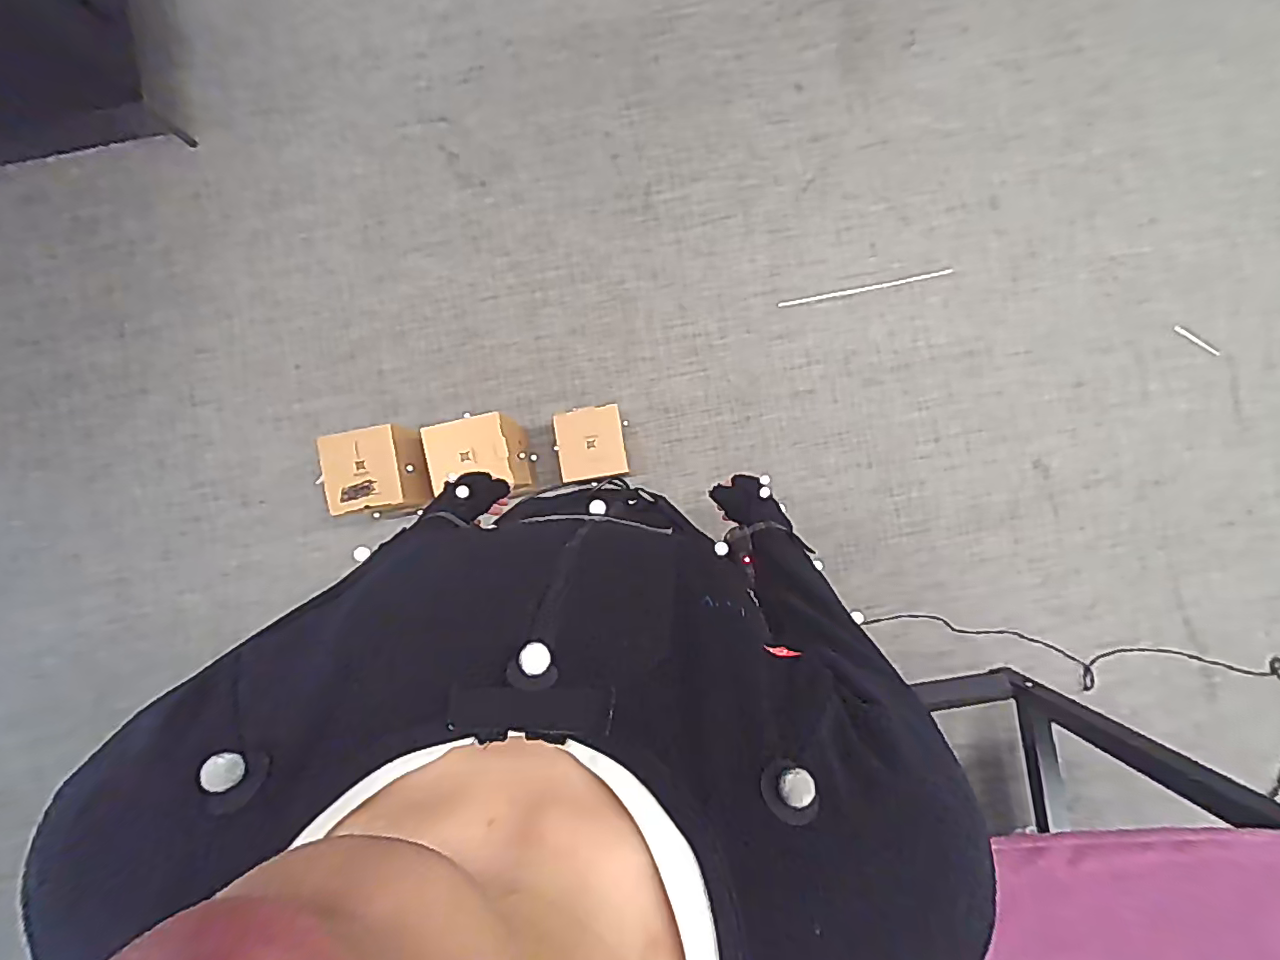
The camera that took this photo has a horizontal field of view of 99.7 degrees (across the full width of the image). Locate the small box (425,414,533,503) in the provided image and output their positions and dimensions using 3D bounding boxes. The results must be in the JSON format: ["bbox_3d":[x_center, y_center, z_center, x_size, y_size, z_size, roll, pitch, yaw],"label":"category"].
[{"bbox_3d":[-0.362,-0.044,1.243,0.179,0.176,0.168,-13,89,0],"label":"small box"}]

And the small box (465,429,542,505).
[{"bbox_3d":[-0.363,-0.035,1.405,0.168,0.176,0.179,-12,88,2],"label":"small box"}]

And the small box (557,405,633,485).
[{"bbox_3d":[-0.111,-0.085,1.405,0.168,0.176,0.179,-9,89,1],"label":"small box"}]
